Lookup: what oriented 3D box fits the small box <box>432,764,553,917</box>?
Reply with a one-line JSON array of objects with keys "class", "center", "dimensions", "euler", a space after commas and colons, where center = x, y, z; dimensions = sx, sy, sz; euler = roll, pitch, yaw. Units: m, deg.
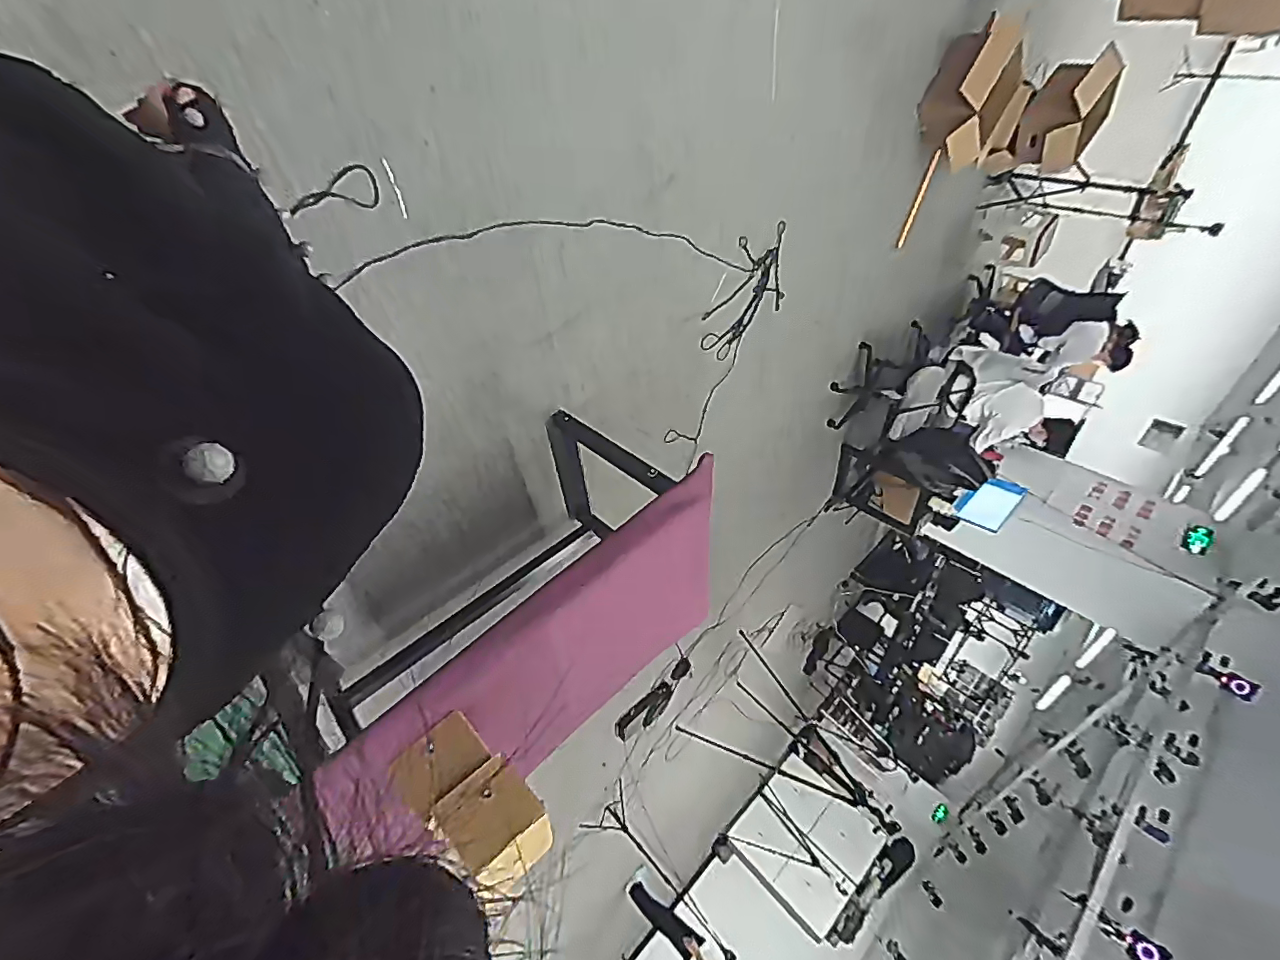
[{"class": "small box", "center": [-0.297, 0.724, 1.101], "dimensions": [0.168, 0.176, 0.179], "euler": [-30, 137, -34]}]

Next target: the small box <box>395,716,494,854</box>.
[{"class": "small box", "center": [-0.418, 0.672, 1.201], "dimensions": [0.179, 0.176, 0.168], "euler": [-36, 141, -27]}]
